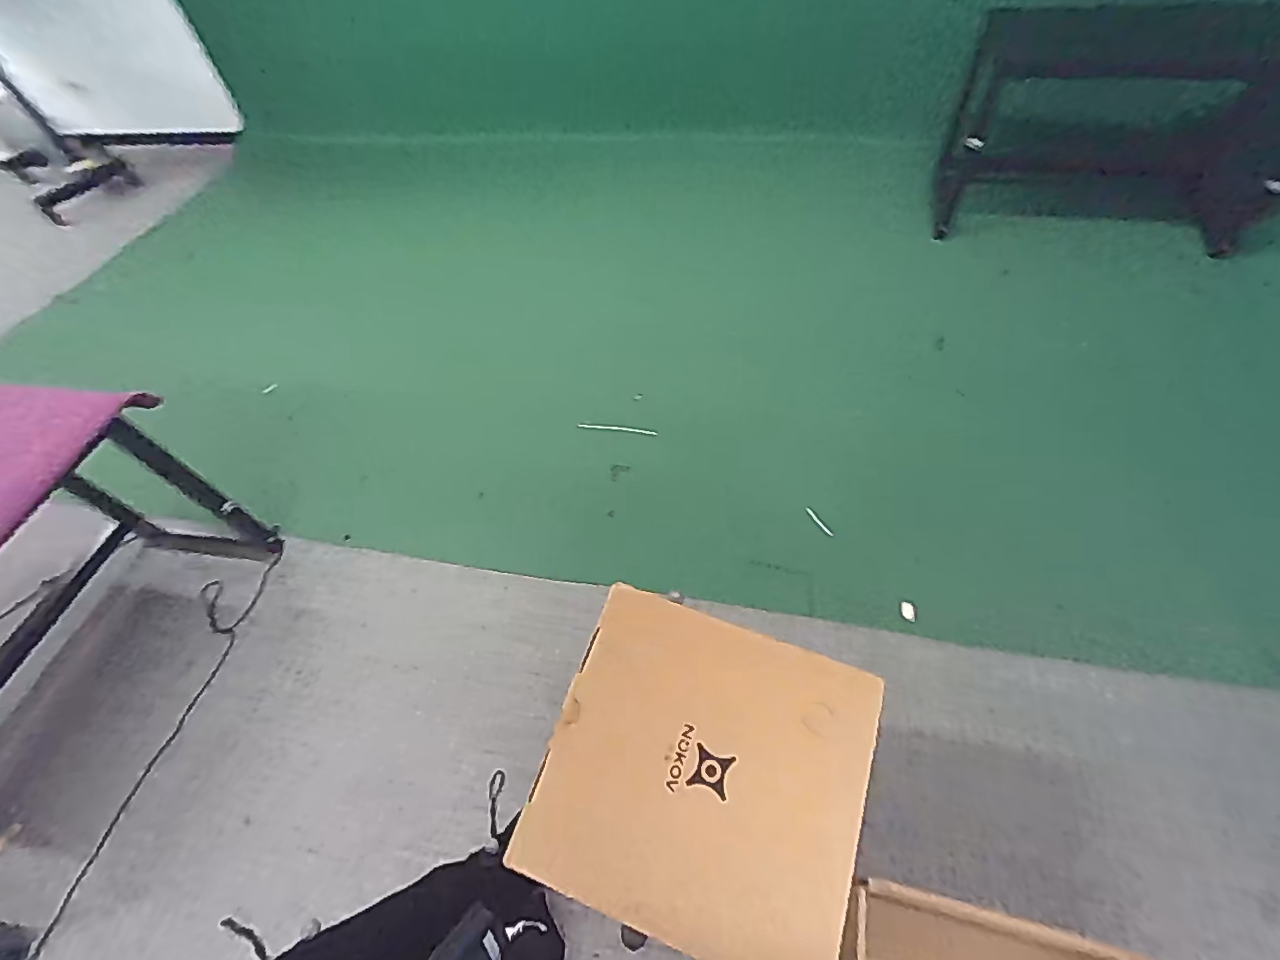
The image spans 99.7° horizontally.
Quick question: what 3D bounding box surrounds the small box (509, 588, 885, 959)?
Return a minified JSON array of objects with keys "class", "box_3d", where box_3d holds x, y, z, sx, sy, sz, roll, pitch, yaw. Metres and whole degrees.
[{"class":"small box","box_3d":[0.041,0.197,0.376,0.179,0.176,0.168,17,65,11]}]
